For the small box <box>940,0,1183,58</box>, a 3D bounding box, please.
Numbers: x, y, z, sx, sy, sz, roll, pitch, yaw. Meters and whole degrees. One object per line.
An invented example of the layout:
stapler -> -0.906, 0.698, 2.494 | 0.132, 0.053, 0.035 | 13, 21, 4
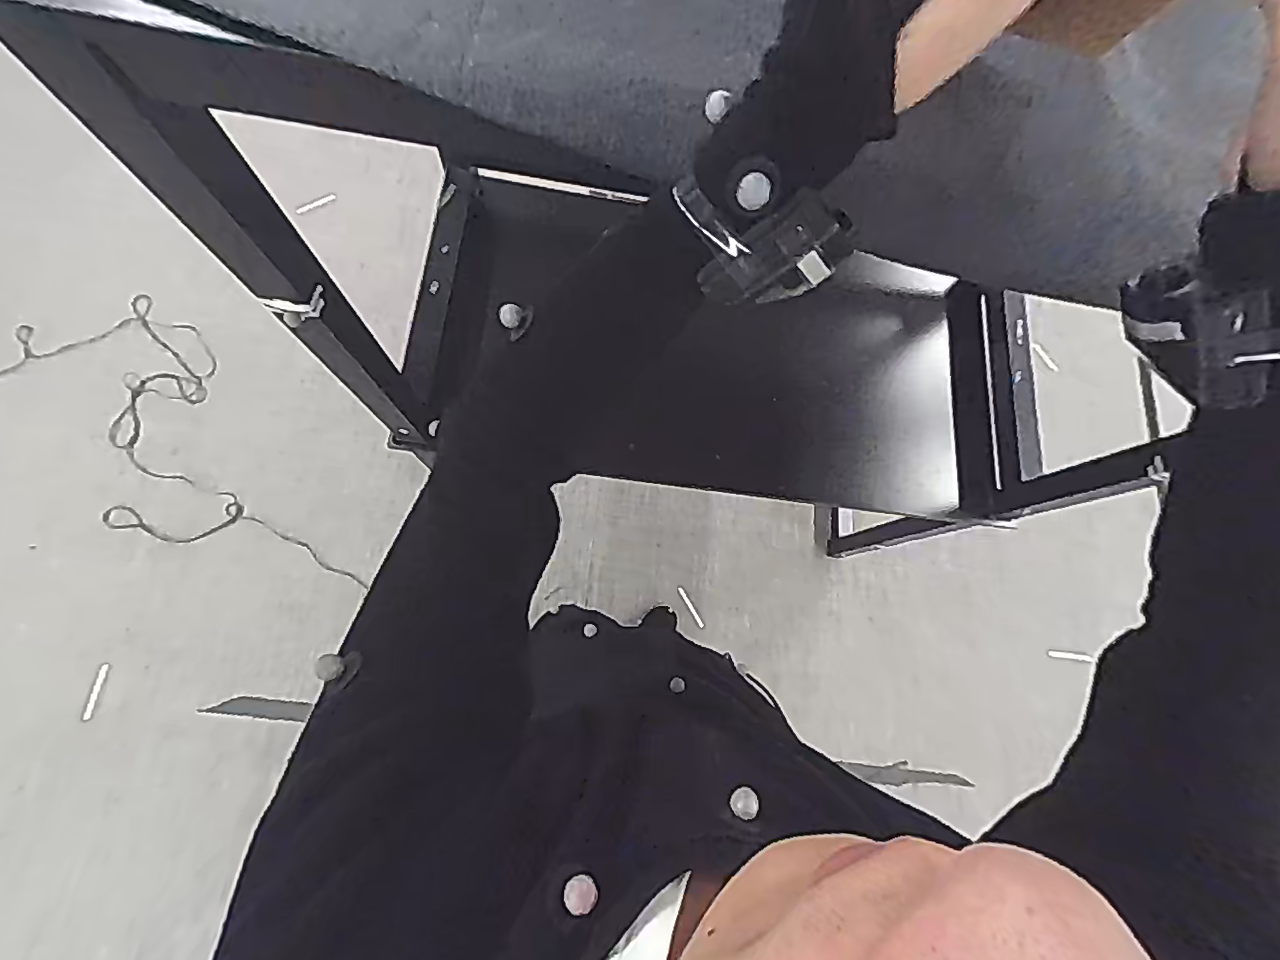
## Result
small box -> 0.190, -0.307, 0.191 | 0.168, 0.176, 0.179 | 10, 90, -8
